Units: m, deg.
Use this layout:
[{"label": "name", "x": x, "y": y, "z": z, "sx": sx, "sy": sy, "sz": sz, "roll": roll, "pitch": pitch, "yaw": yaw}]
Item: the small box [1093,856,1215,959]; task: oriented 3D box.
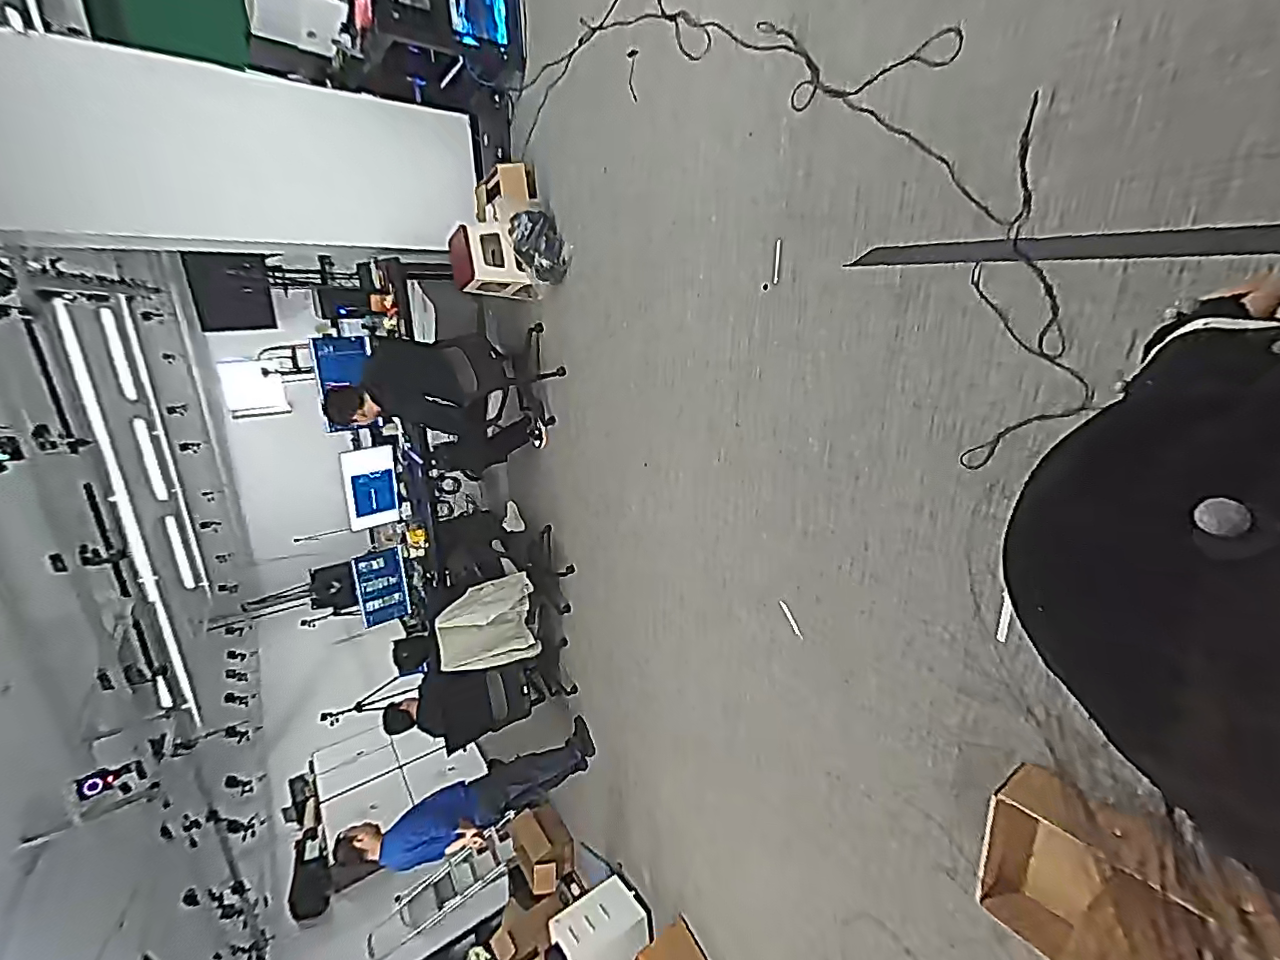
[{"label": "small box", "x": 1.159, "y": 1.014, "z": 1.221, "sx": 0.168, "sy": 0.176, "sz": 0.179, "roll": 11, "pitch": 110, "yaw": 54}]
